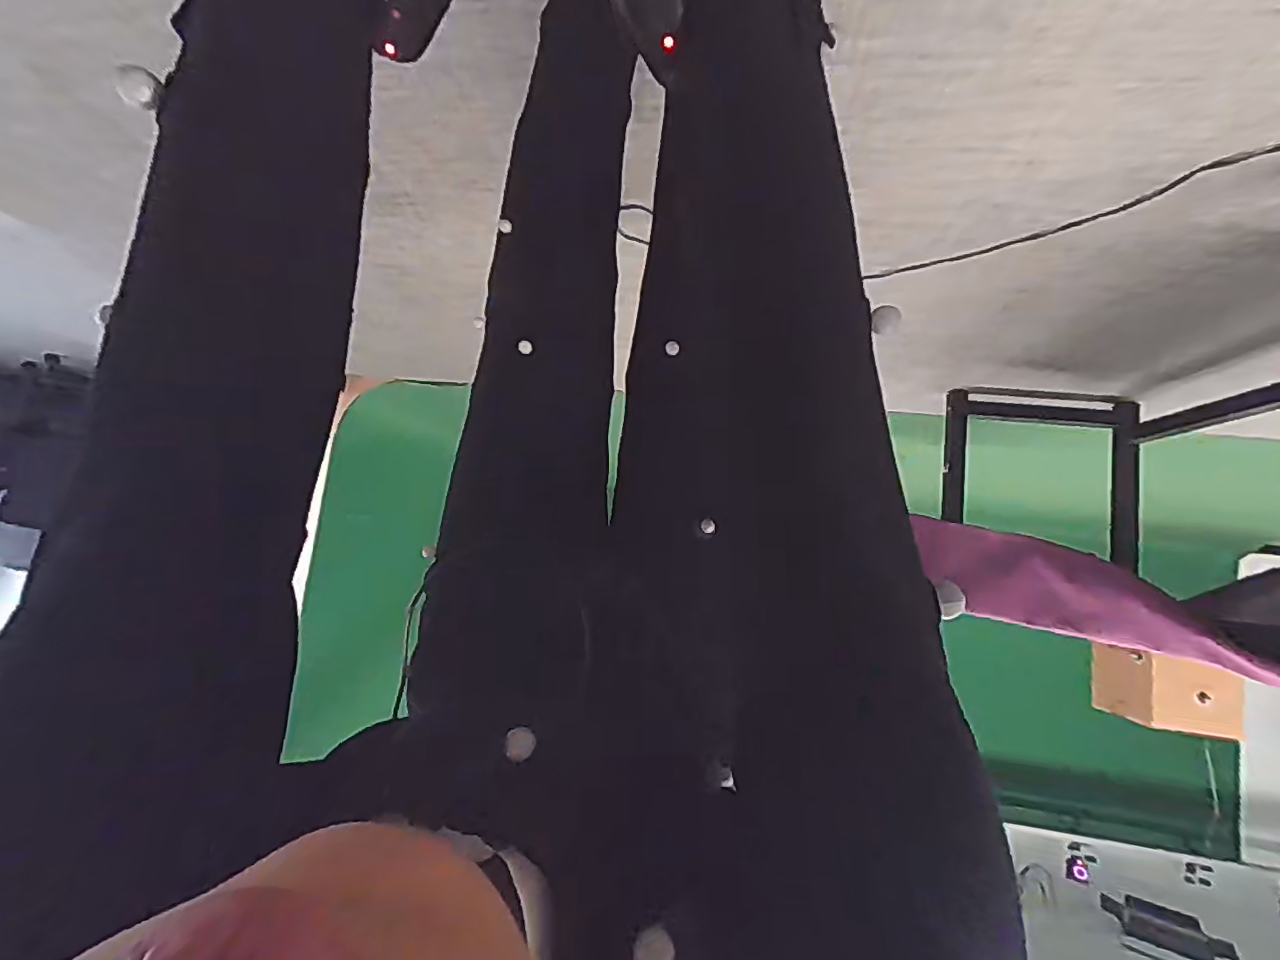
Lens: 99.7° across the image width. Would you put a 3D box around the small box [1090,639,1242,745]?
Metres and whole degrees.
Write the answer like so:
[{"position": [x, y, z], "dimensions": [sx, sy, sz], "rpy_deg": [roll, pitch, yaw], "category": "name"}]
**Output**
[{"position": [1.116, 0.444, 1.161], "dimensions": [0.179, 0.176, 0.168], "rpy_deg": [5, 172, 6], "category": "small box"}]
